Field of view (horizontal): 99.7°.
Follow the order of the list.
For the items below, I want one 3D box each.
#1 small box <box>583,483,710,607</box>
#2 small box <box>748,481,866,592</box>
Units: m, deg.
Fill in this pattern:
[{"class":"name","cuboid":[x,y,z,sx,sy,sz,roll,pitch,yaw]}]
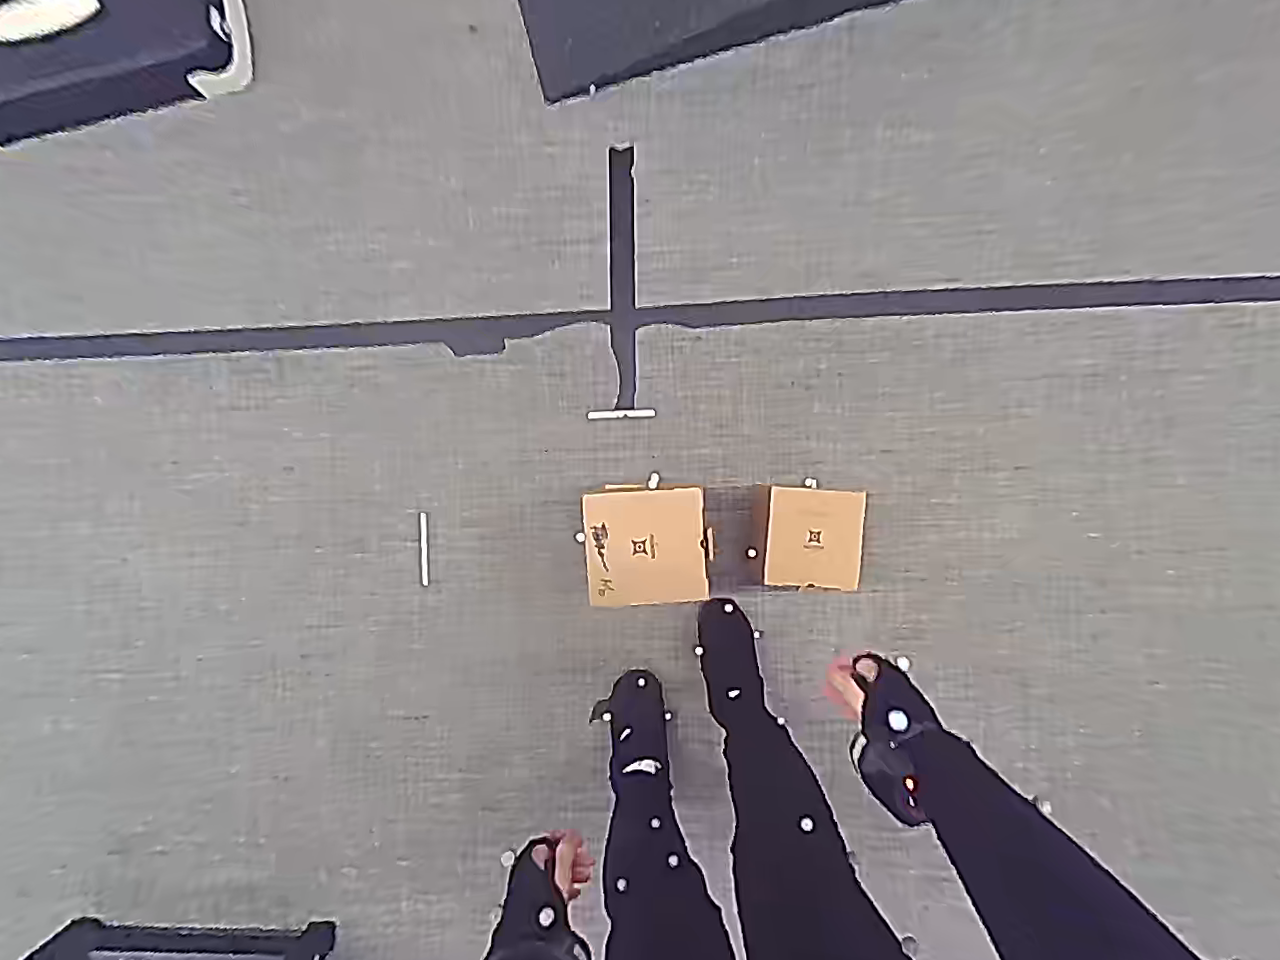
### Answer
[{"class":"small box","cuboid":[0.009,0.093,0.846,0.179,0.176,0.168,-3,91,0]},{"class":"small box","cuboid":[0.300,0.098,1.007,0.168,0.176,0.179,4,91,1]}]
